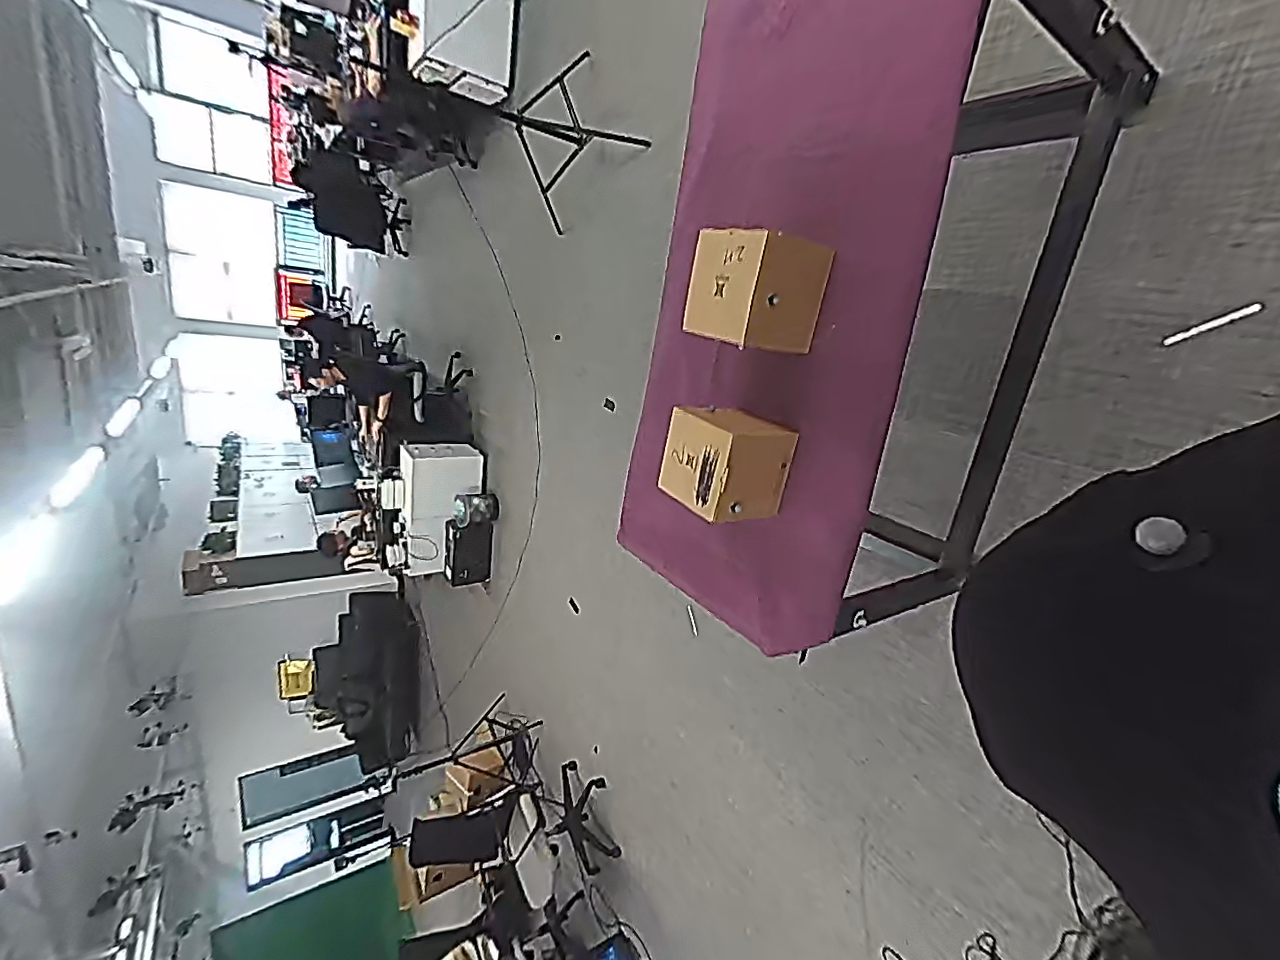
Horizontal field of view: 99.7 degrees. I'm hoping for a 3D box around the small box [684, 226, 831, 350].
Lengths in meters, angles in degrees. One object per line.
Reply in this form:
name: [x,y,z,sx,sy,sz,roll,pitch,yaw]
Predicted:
small box: [0.205,-0.332,0.946,0.168,0.176,0.179,34,120,49]
